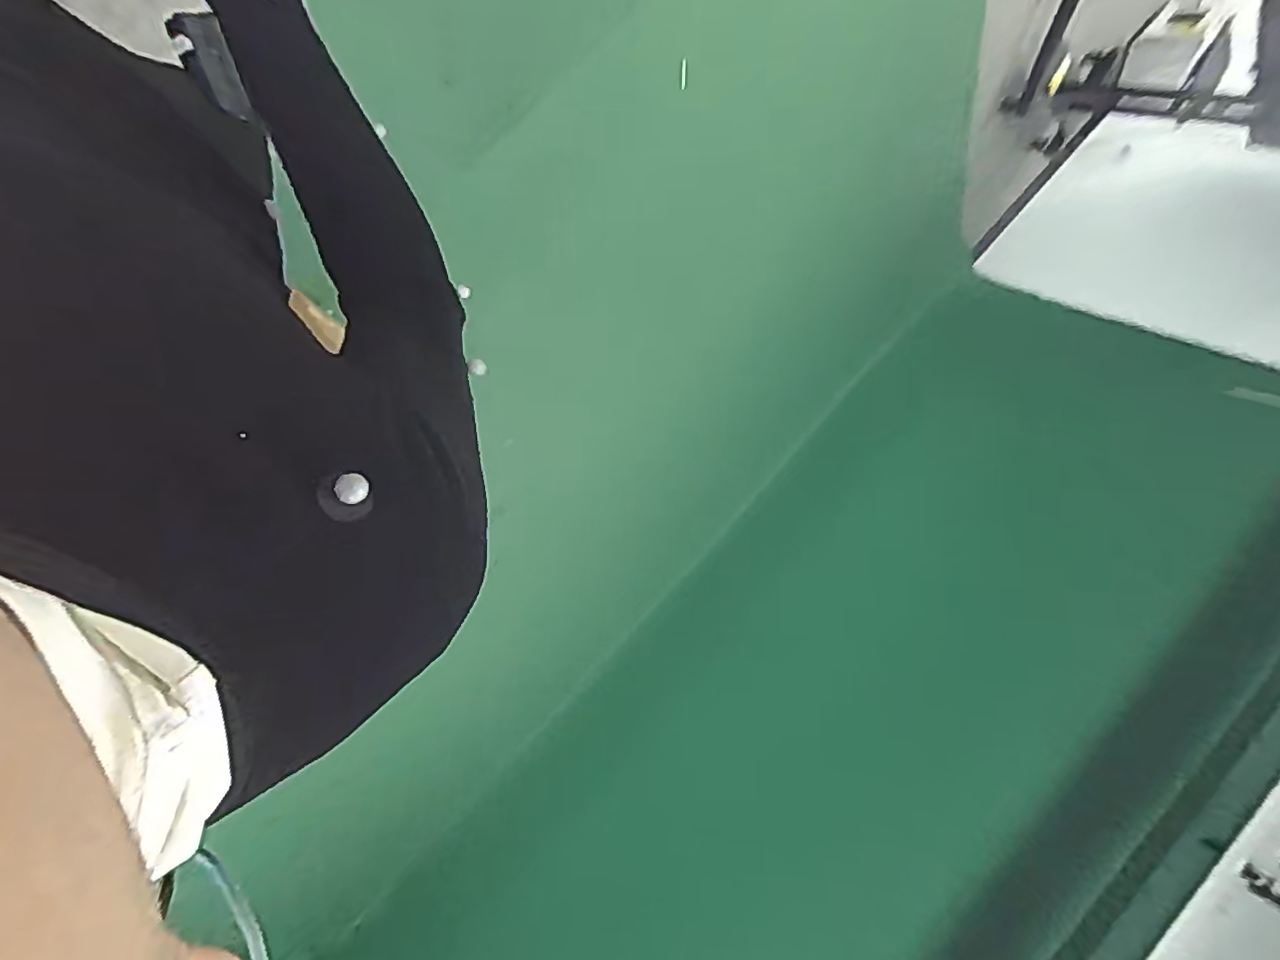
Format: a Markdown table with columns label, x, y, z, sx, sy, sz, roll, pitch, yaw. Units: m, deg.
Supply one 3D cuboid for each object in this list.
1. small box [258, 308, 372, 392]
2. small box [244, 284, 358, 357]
| label | x | y | z | sx | sy | sz | roll | pitch | yaw |
| --- | --- | --- | --- | --- | --- | --- | --- | --- | --- |
| small box | -0.768 | -0.273 | 1.283 | 0.179 | 0.176 | 0.168 | -48 | 144 | -4 |
| small box | -0.866 | -0.363 | 1.376 | 0.179 | 0.176 | 0.168 | -46 | 144 | -6 |
